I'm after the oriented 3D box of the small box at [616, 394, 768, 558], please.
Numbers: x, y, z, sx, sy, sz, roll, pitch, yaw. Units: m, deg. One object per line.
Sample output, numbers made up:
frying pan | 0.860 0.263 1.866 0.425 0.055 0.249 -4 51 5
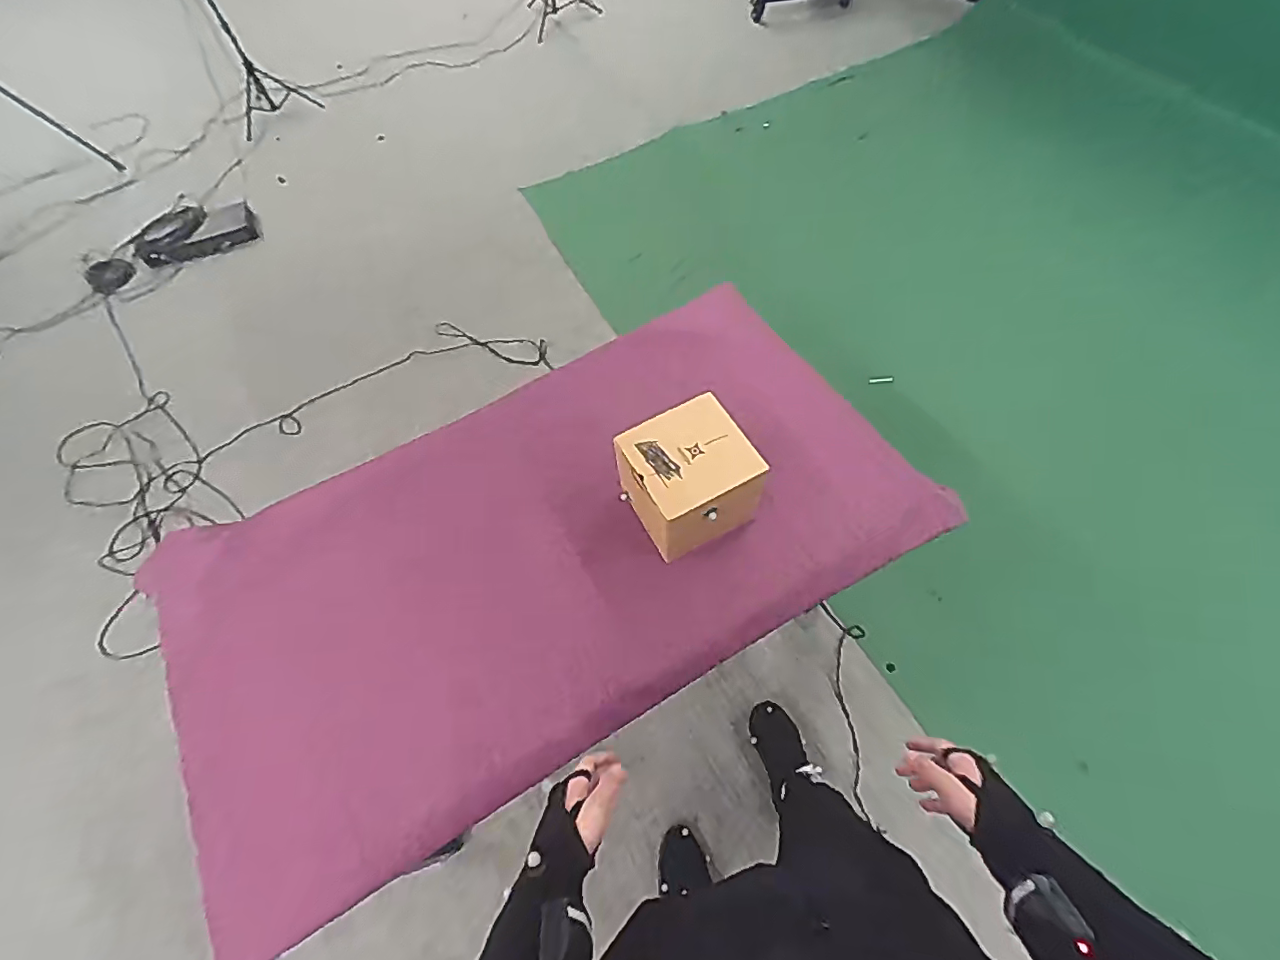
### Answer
small box | 0.079 0.001 0.870 0.179 0.176 0.168 -26 63 -11
